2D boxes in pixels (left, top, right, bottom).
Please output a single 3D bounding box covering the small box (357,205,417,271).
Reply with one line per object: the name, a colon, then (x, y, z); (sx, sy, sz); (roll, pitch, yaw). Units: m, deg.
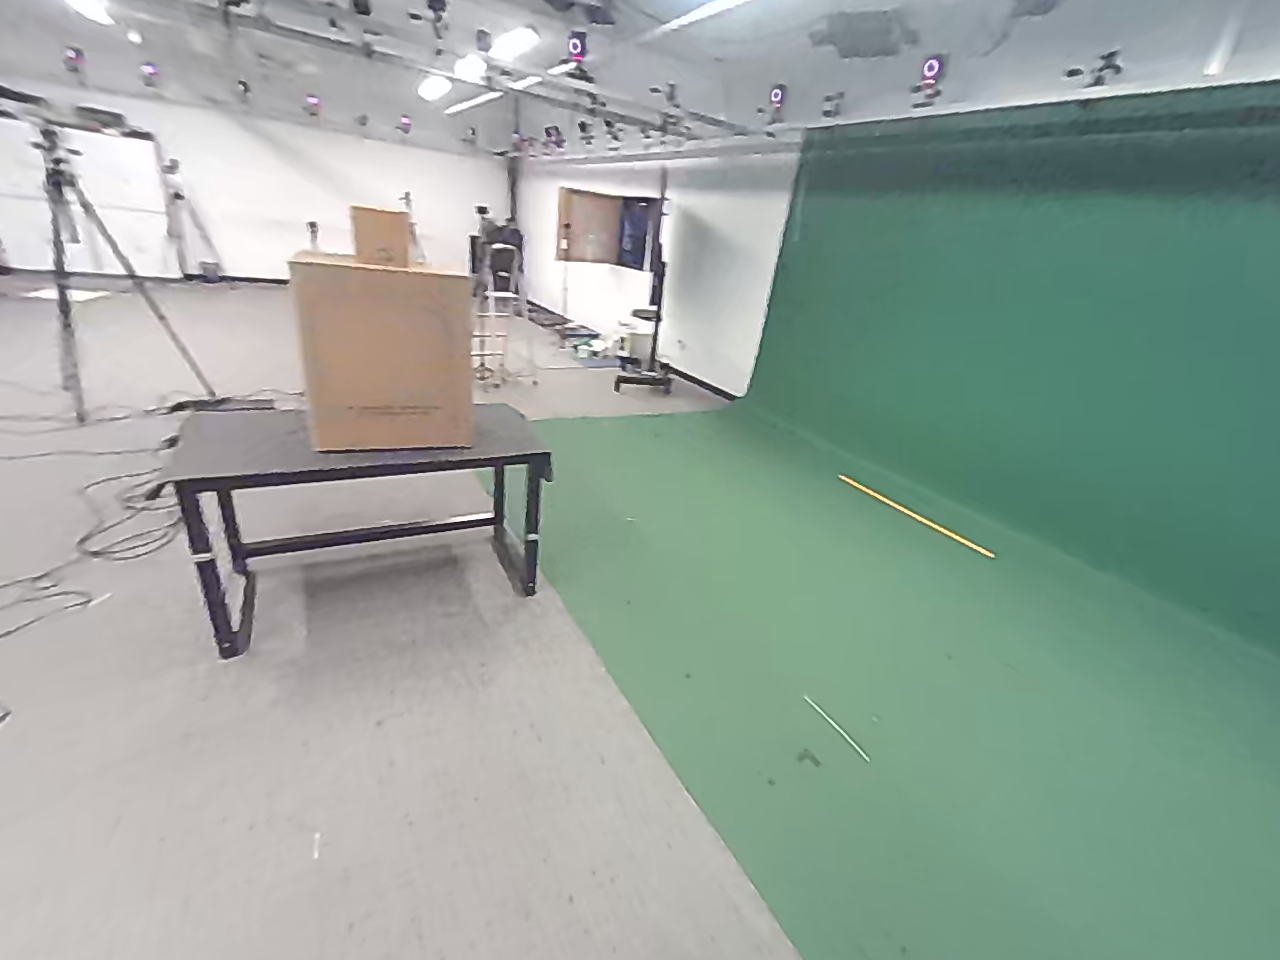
small box: (-0.835, -0.802, 1.792); (0.168, 0.176, 0.179); (-1, 28, -21)
